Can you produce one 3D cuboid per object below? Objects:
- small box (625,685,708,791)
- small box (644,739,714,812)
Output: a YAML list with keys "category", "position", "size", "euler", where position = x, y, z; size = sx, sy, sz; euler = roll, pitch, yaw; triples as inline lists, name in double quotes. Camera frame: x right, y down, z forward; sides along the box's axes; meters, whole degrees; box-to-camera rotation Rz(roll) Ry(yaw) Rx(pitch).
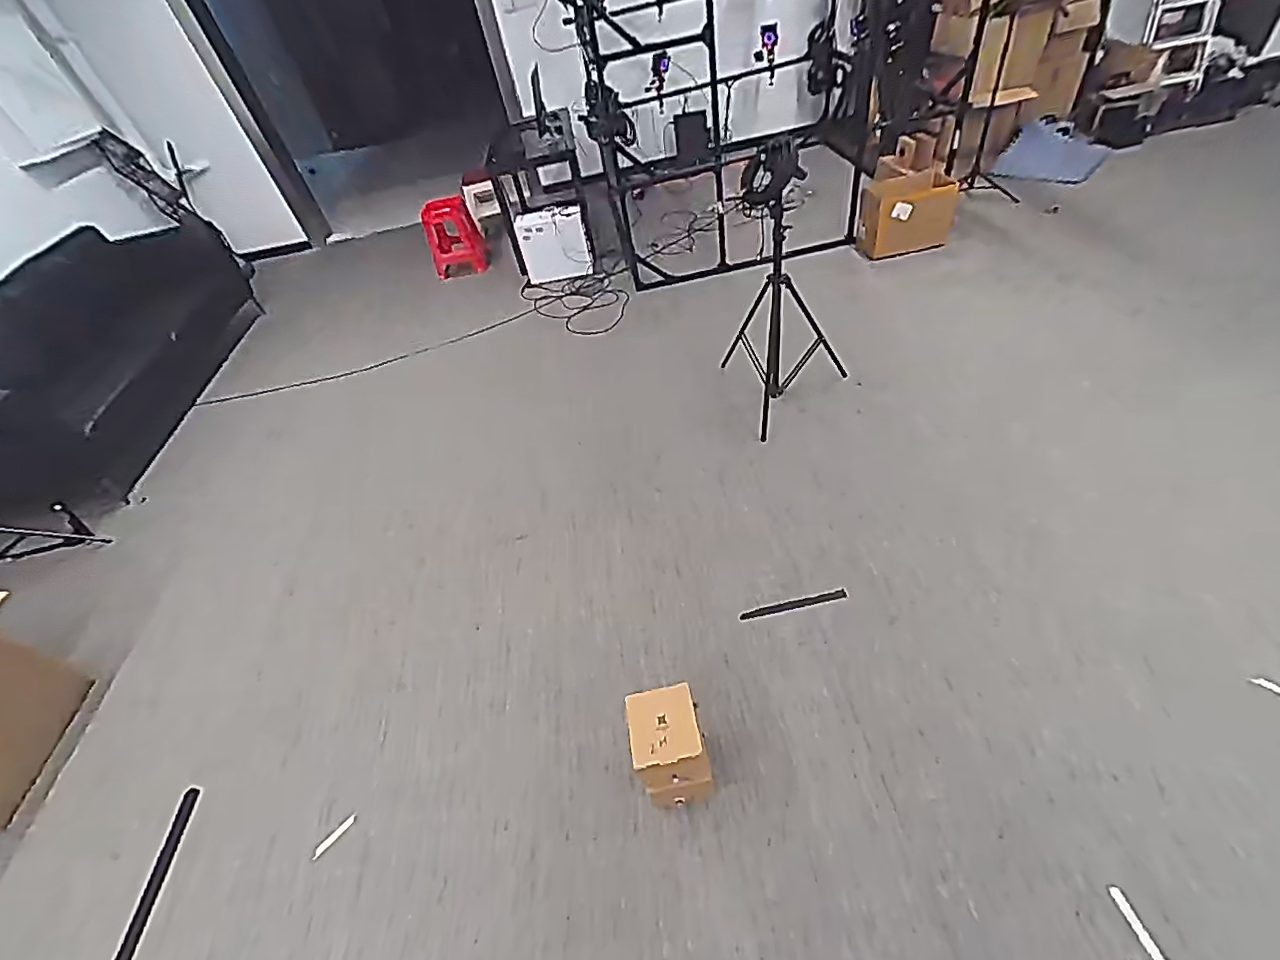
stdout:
- category: "small box"
  position: [0.066, 0.640, 1.337]
  size: [0.168, 0.176, 0.179]
  euler: [-14, 45, 2]
- category: "small box"
  position: [0.096, 0.758, 1.447]
  size: [0.168, 0.176, 0.179]
  euler: [-13, 45, 2]
